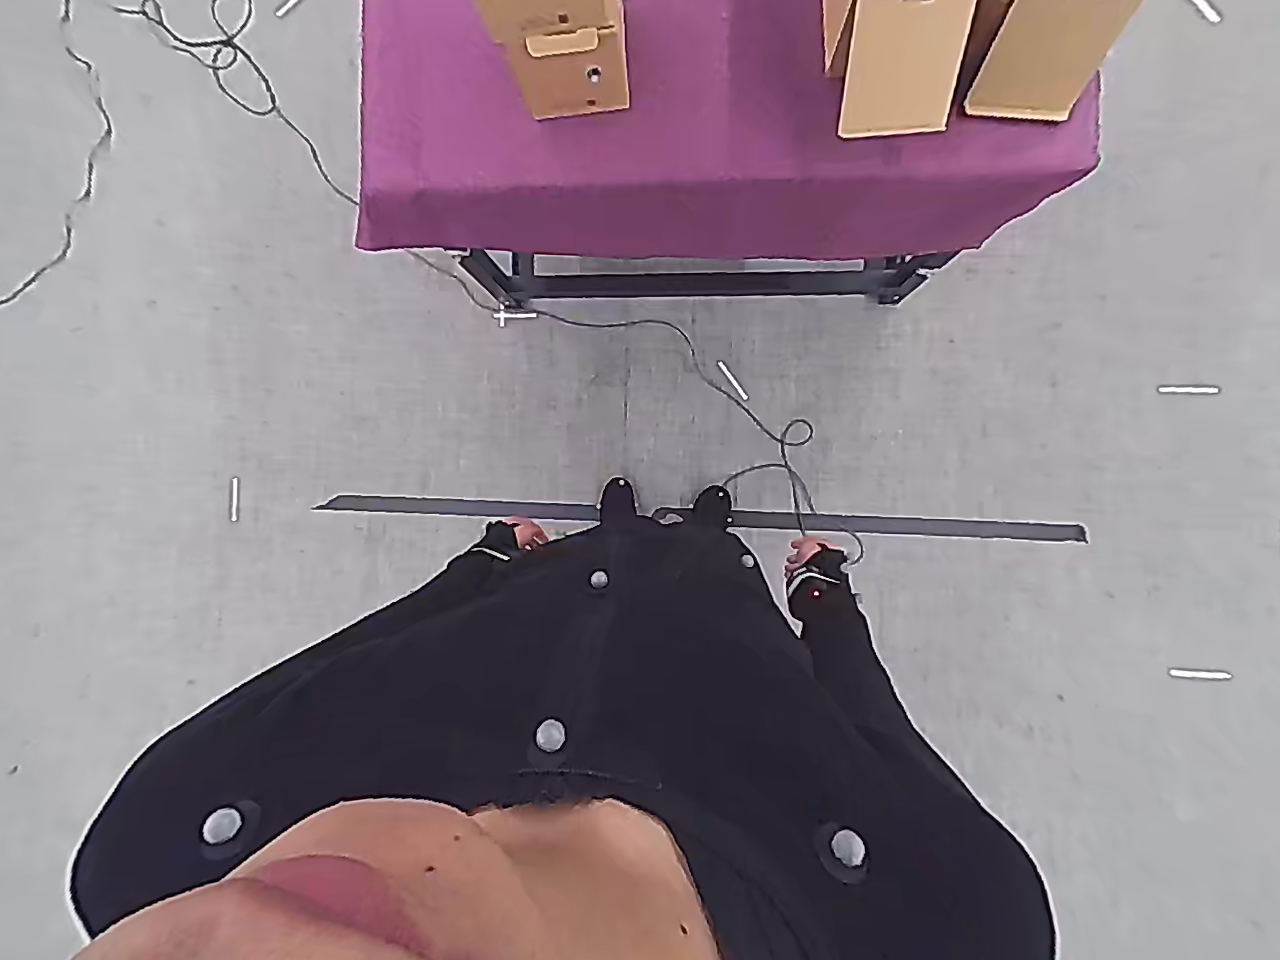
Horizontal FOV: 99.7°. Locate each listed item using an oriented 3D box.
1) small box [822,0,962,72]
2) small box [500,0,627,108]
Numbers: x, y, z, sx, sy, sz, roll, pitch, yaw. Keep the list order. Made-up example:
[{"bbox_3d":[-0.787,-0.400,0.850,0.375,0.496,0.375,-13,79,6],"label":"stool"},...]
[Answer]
[{"bbox_3d":[0.372,-0.755,0.798,0.168,0.176,0.179,-2,90,5],"label":"small box"},{"bbox_3d":[-0.112,-0.713,0.838,0.168,0.176,0.179,-3,90,4],"label":"small box"}]
